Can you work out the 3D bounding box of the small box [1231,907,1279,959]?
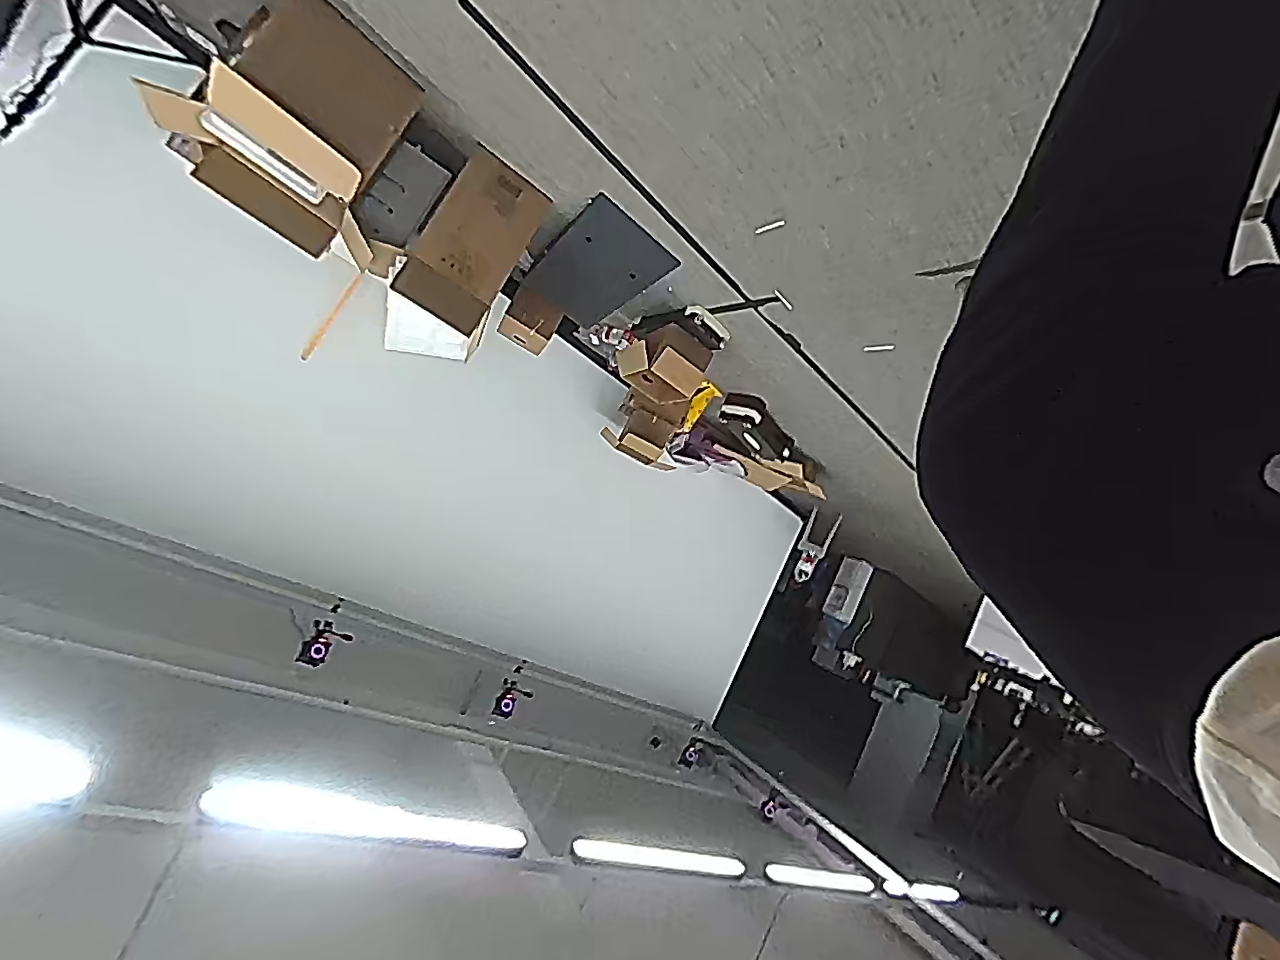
[{"bbox_3d":[1.849,1.373,1.557,0.179,0.176,0.168,32,170,-31],"label":"small box"}]
